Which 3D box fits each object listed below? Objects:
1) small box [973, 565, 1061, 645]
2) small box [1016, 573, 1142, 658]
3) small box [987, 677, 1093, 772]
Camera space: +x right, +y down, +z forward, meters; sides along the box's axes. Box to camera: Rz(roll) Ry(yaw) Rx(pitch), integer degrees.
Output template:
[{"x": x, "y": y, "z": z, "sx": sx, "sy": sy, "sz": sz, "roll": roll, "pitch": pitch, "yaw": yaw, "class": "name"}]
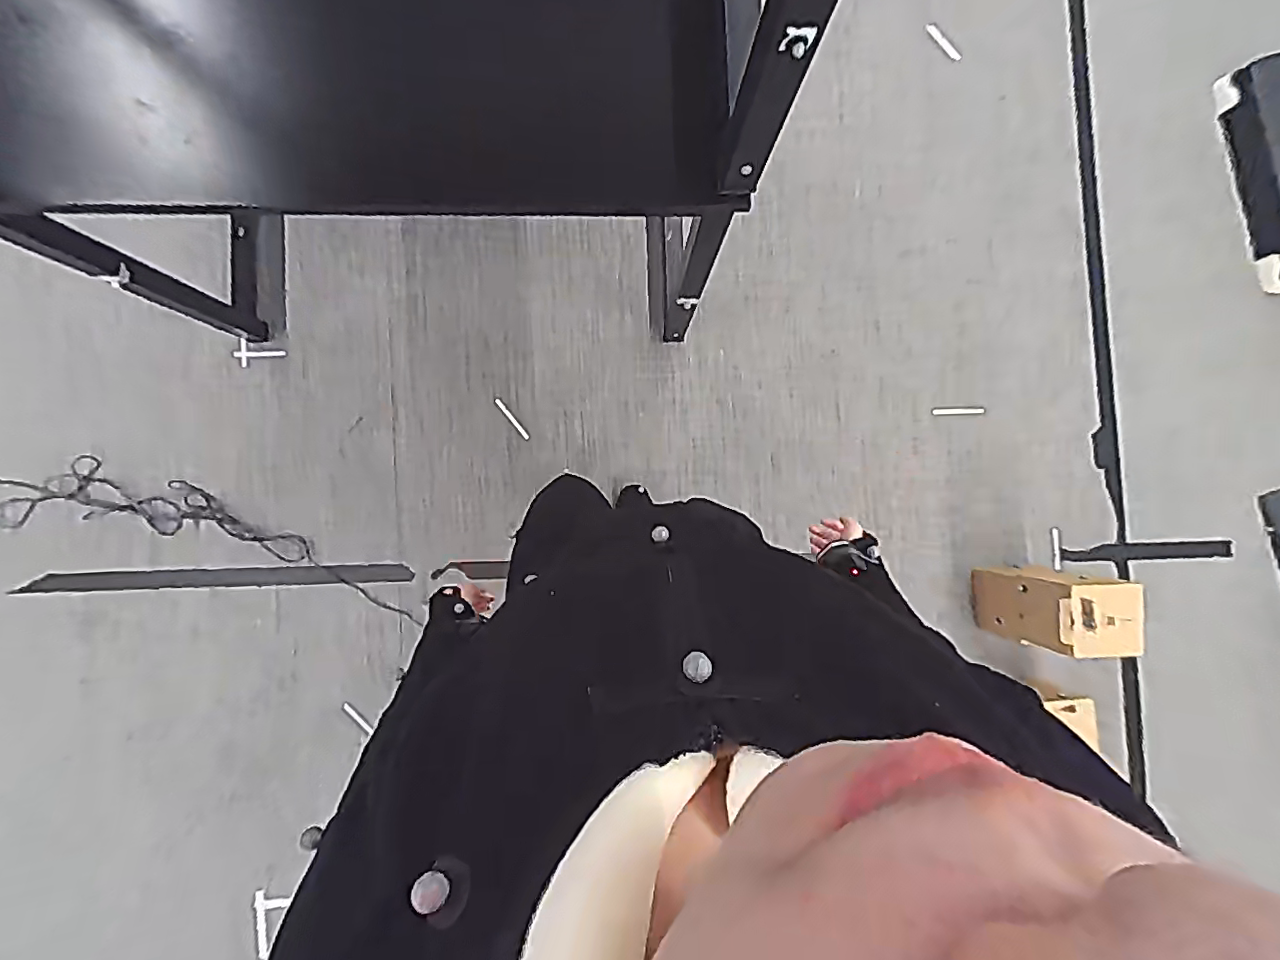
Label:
[{"x": 1.032, "y": 0.331, "z": 1.456, "sx": 0.168, "sy": 0.176, "sz": 0.179, "roll": -3, "pitch": 89, "yaw": -3, "class": "small box"}, {"x": 1.037, "y": 0.318, "z": 1.292, "sx": 0.179, "sy": 0.176, "sz": 0.168, "roll": 0, "pitch": 89, "yaw": -4, "class": "small box"}, {"x": 1.064, "y": 0.649, "z": 1.449, "sx": 0.168, "sy": 0.176, "sz": 0.179, "roll": -3, "pitch": 89, "yaw": -3, "class": "small box"}]
